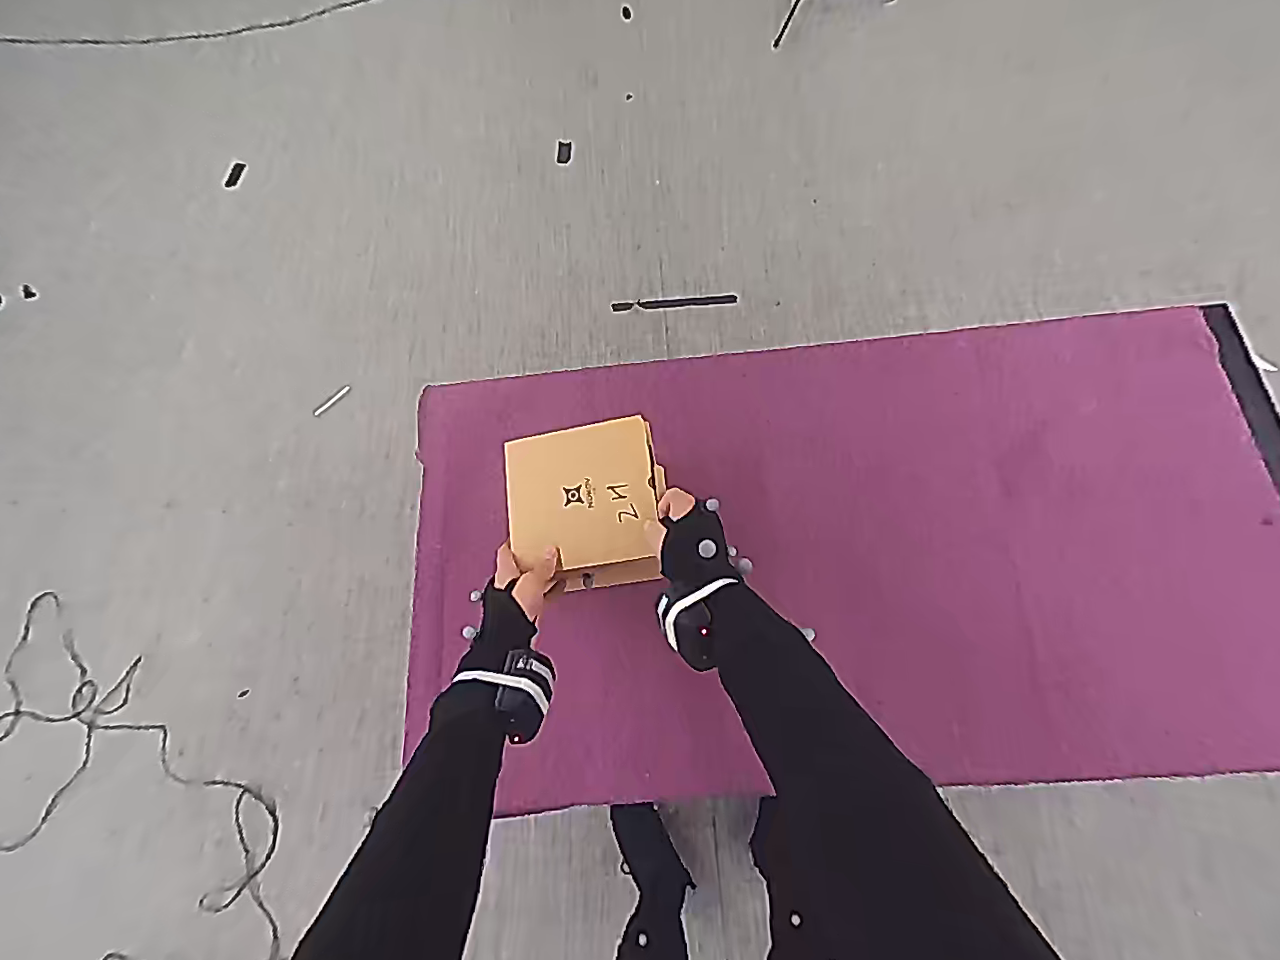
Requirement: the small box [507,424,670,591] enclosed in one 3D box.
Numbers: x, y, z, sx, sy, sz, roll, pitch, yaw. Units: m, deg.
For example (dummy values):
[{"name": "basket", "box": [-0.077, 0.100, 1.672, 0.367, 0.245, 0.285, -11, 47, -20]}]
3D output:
[{"name": "small box", "box": [-0.058, 0.045, 0.693, 0.179, 0.176, 0.168, -7, 72, 2]}]
